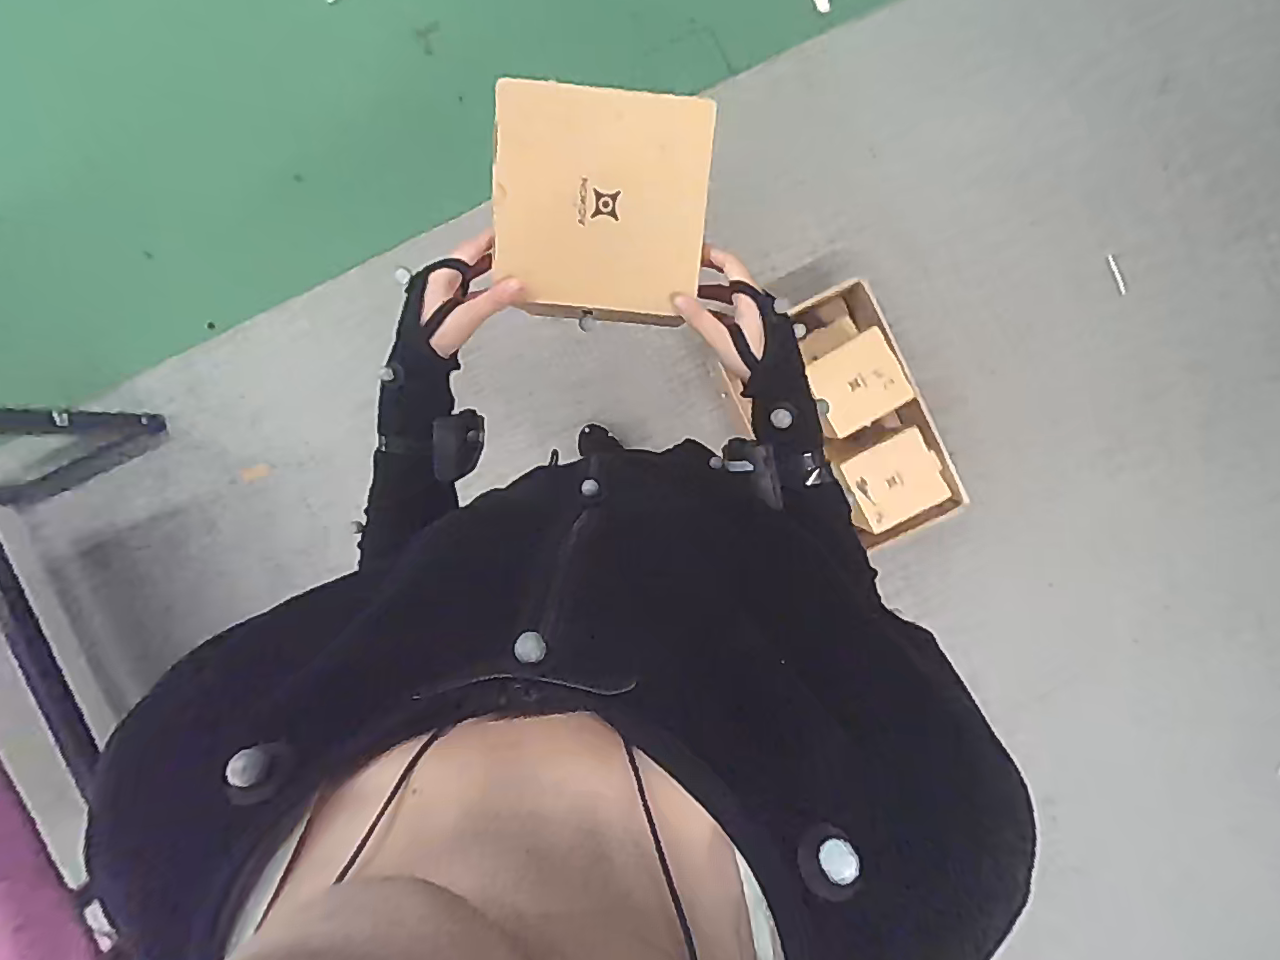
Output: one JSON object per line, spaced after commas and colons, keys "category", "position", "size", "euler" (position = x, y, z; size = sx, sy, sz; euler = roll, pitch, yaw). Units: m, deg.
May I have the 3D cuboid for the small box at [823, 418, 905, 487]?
{"category": "small box", "position": [0.580, -0.034, 1.339], "size": [0.168, 0.176, 0.179], "euler": [-32, 91, 7]}

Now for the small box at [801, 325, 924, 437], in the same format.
{"category": "small box", "position": [0.466, -0.207, 1.170], "size": [0.179, 0.176, 0.168], "euler": [-30, 94, 8]}

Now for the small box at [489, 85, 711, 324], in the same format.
{"category": "small box", "position": [-0.036, -0.244, 0.522], "size": [0.179, 0.176, 0.168], "euler": [5, 103, 0]}

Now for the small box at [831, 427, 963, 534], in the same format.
{"category": "small box", "position": [0.549, -0.004, 1.180], "size": [0.179, 0.176, 0.168], "euler": [-28, 91, 6]}

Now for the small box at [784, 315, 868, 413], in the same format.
{"category": "small box", "position": [0.474, -0.275, 1.327], "size": [0.168, 0.176, 0.179], "euler": [-29, 94, 8]}
